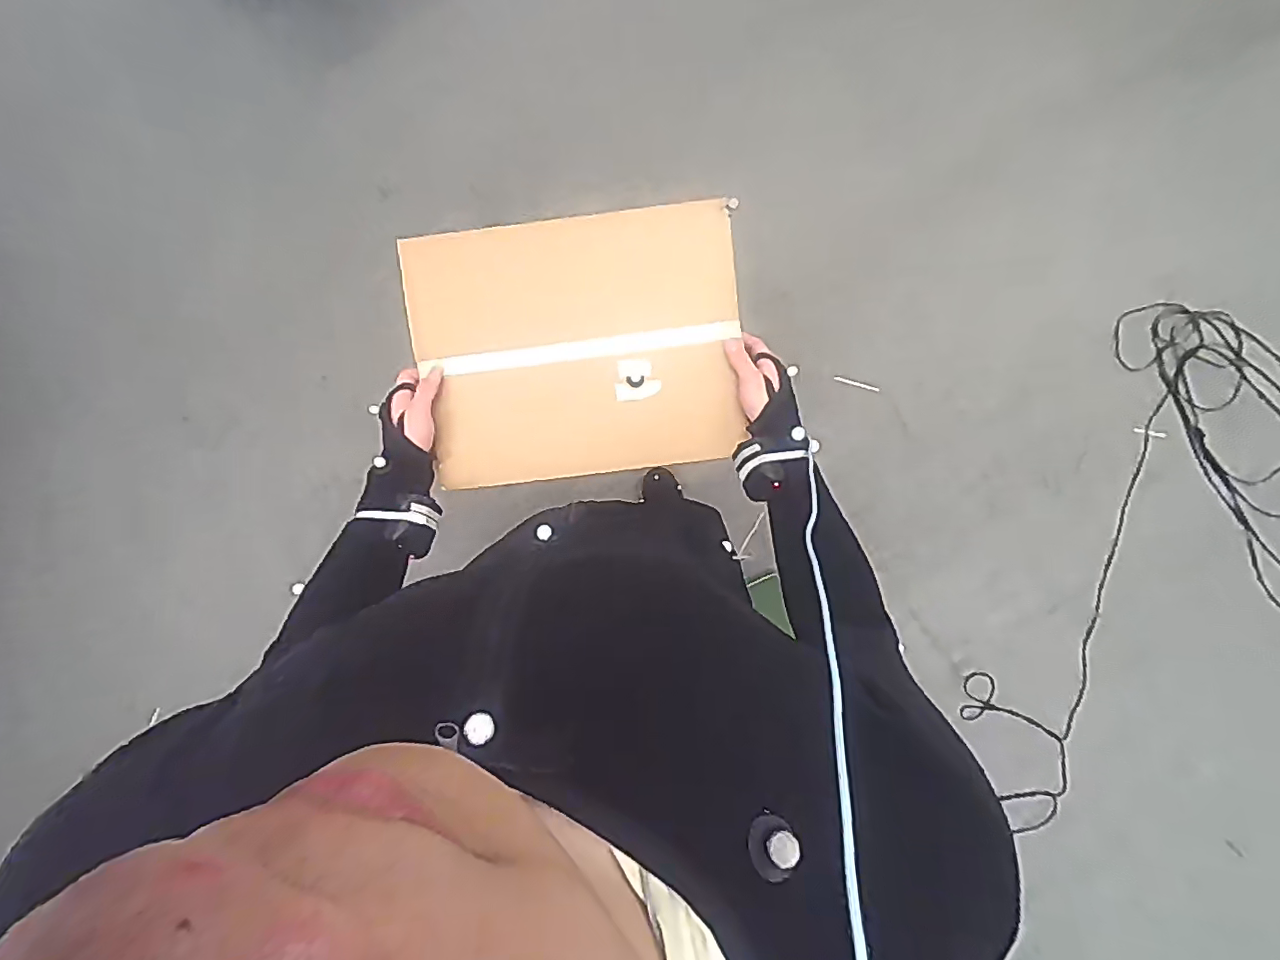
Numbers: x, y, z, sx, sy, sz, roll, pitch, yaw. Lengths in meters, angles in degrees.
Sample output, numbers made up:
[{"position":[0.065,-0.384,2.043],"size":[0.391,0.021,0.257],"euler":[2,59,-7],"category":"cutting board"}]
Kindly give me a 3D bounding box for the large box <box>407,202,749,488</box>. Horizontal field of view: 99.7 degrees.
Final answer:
[{"position":[-0.077,-0.181,0.831],"size":[0.408,0.320,0.320],"euler":[-7,97,1],"category":"large box"}]
